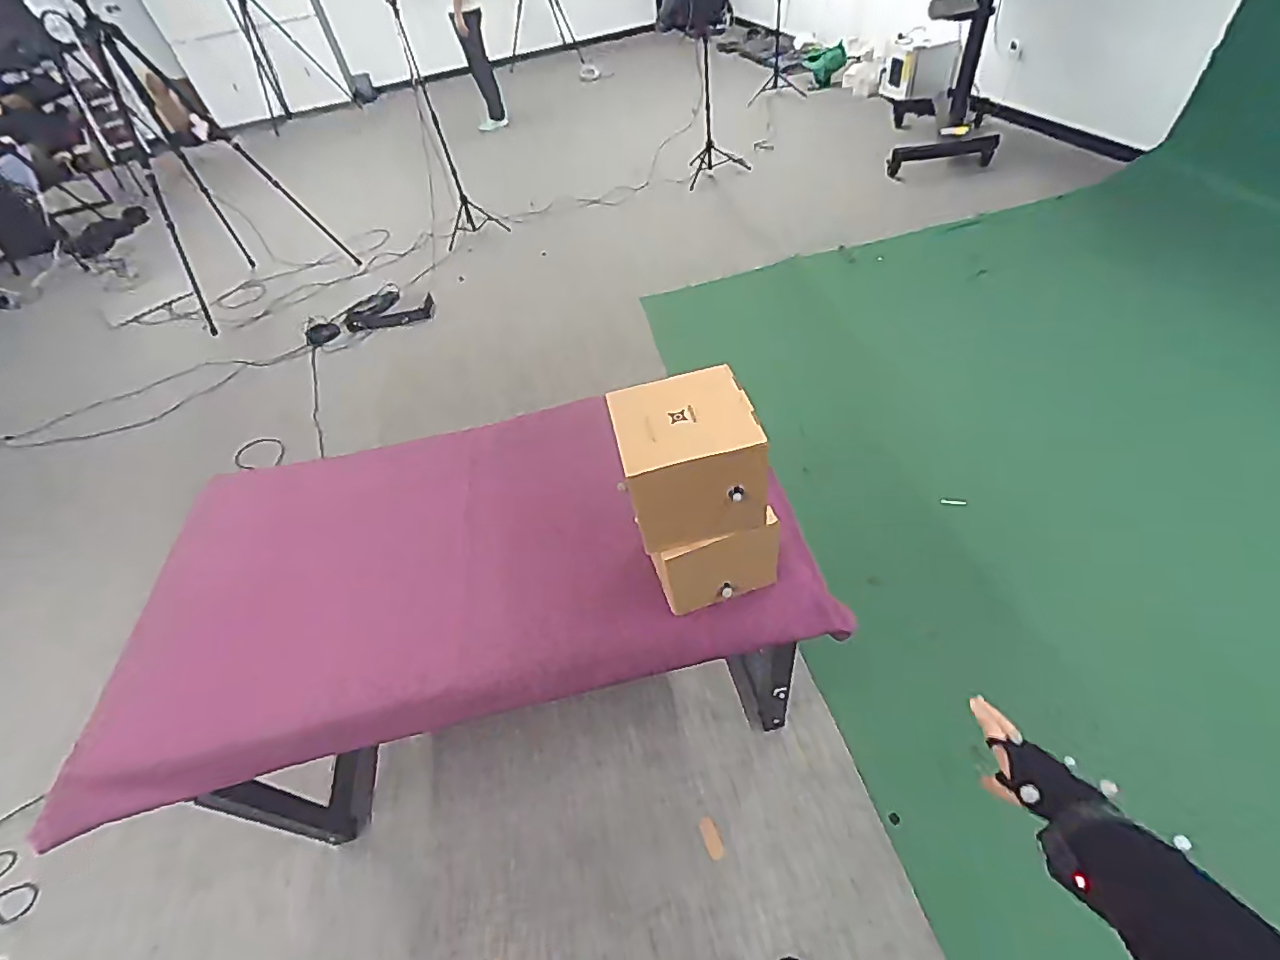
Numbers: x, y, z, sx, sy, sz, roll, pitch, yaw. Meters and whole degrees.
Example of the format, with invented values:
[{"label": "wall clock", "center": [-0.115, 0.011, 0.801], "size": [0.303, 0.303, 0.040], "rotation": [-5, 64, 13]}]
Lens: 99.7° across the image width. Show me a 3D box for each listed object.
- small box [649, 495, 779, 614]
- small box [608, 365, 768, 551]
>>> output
[{"label": "small box", "center": [0.103, 0.084, 0.859], "size": [0.179, 0.176, 0.168], "rotation": [-18, 47, -5]}, {"label": "small box", "center": [0.065, -0.027, 0.744], "size": [0.179, 0.176, 0.168], "rotation": [-14, 47, 0]}]
